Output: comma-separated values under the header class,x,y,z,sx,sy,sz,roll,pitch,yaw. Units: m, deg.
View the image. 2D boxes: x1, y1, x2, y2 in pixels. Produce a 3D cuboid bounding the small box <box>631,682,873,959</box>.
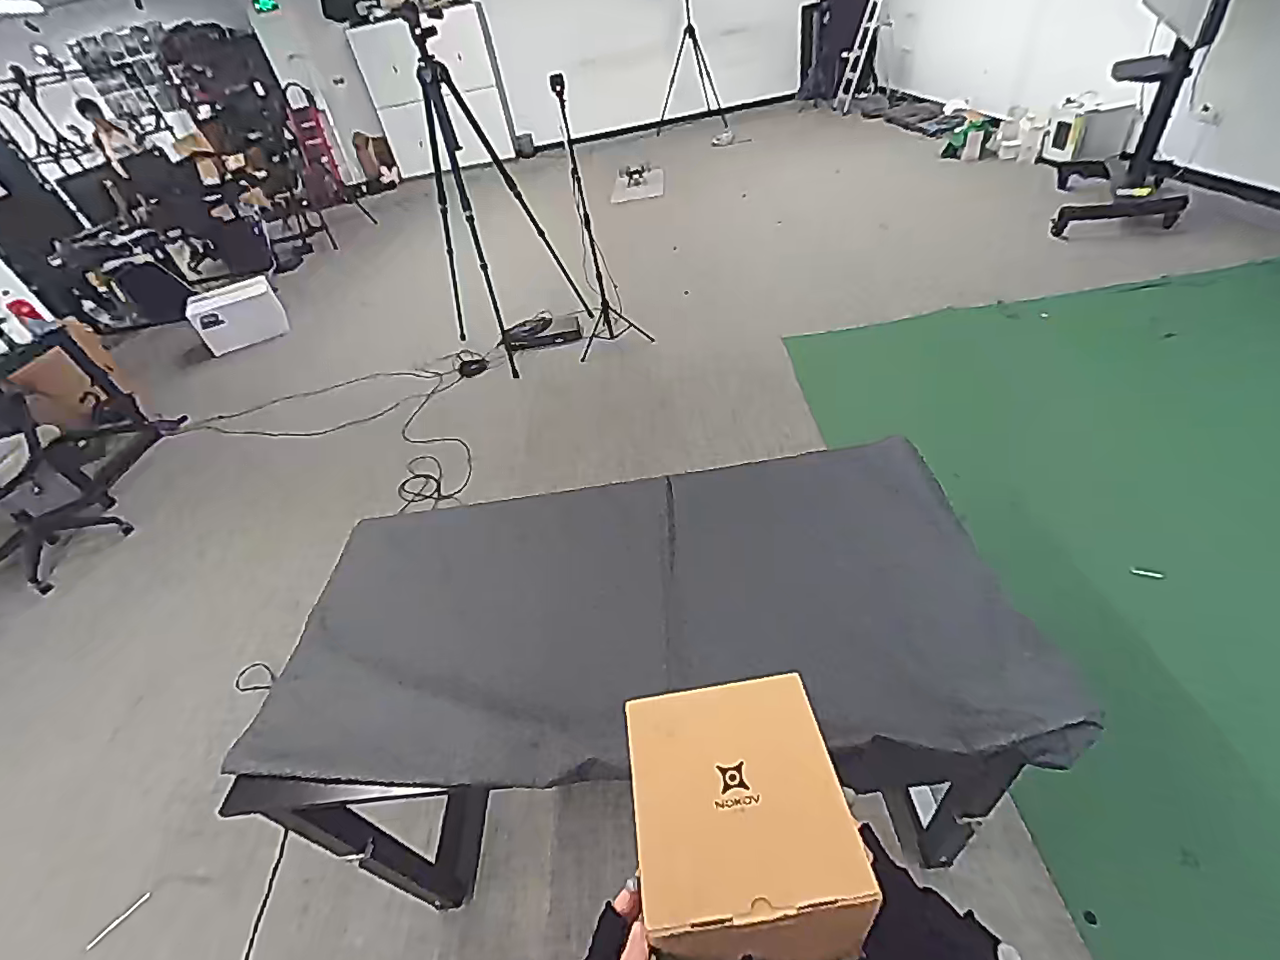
class,x,y,z,sx,sy,sz,roll,pitch,yaw
small box,0.087,0.318,0.496,0.168,0.176,0.179,-9,38,0
